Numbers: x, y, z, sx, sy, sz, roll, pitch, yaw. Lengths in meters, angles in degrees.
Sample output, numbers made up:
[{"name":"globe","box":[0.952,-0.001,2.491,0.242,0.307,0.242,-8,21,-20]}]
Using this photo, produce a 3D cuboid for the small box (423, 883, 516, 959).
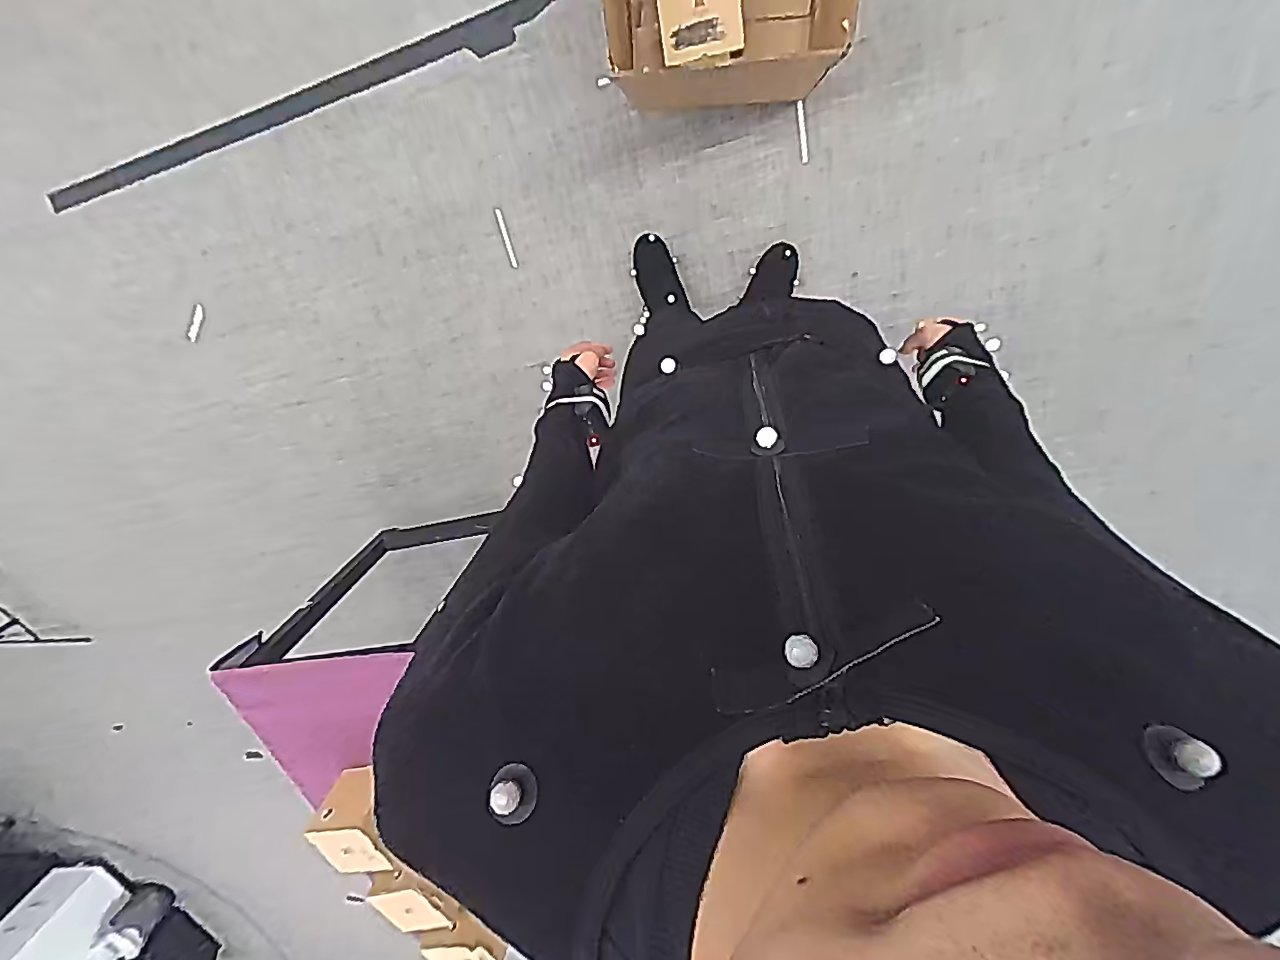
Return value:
[{"name":"small box","box":[-0.479,1.299,1.558,0.179,0.176,0.168,-22,111,18]}]

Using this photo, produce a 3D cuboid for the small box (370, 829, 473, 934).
[{"name":"small box","box":[-0.581,1.087,1.471,0.179,0.176,0.168,-23,110,18]}]

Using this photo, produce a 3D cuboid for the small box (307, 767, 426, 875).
[{"name":"small box","box":[-0.684,0.862,1.373,0.179,0.176,0.168,-15,113,15]}]
